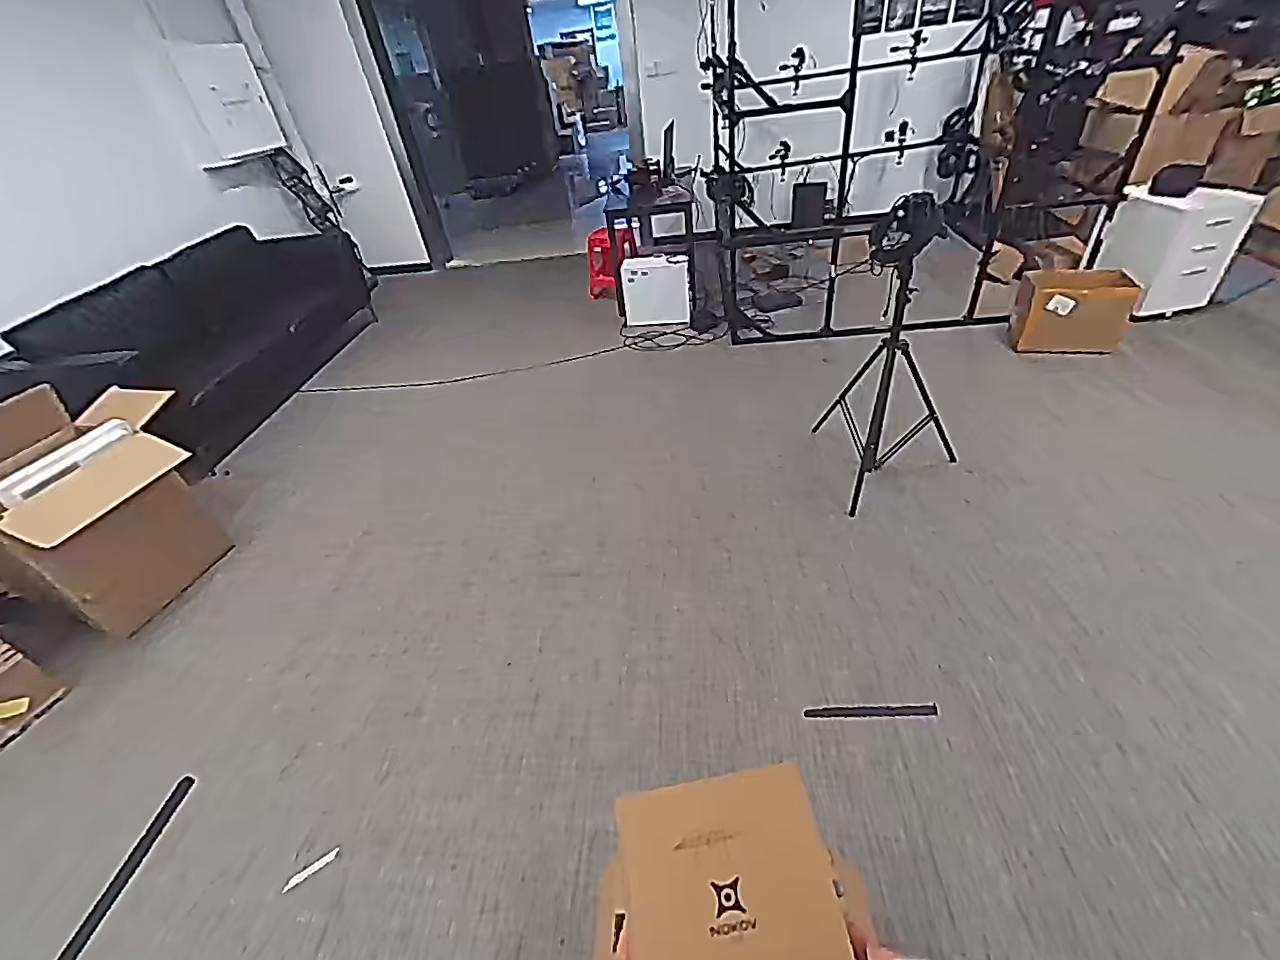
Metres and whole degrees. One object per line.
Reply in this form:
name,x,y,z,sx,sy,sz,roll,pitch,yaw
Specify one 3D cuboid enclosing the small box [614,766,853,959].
small box,0.078,0.375,0.476,0.168,0.176,0.179,-10,51,0
